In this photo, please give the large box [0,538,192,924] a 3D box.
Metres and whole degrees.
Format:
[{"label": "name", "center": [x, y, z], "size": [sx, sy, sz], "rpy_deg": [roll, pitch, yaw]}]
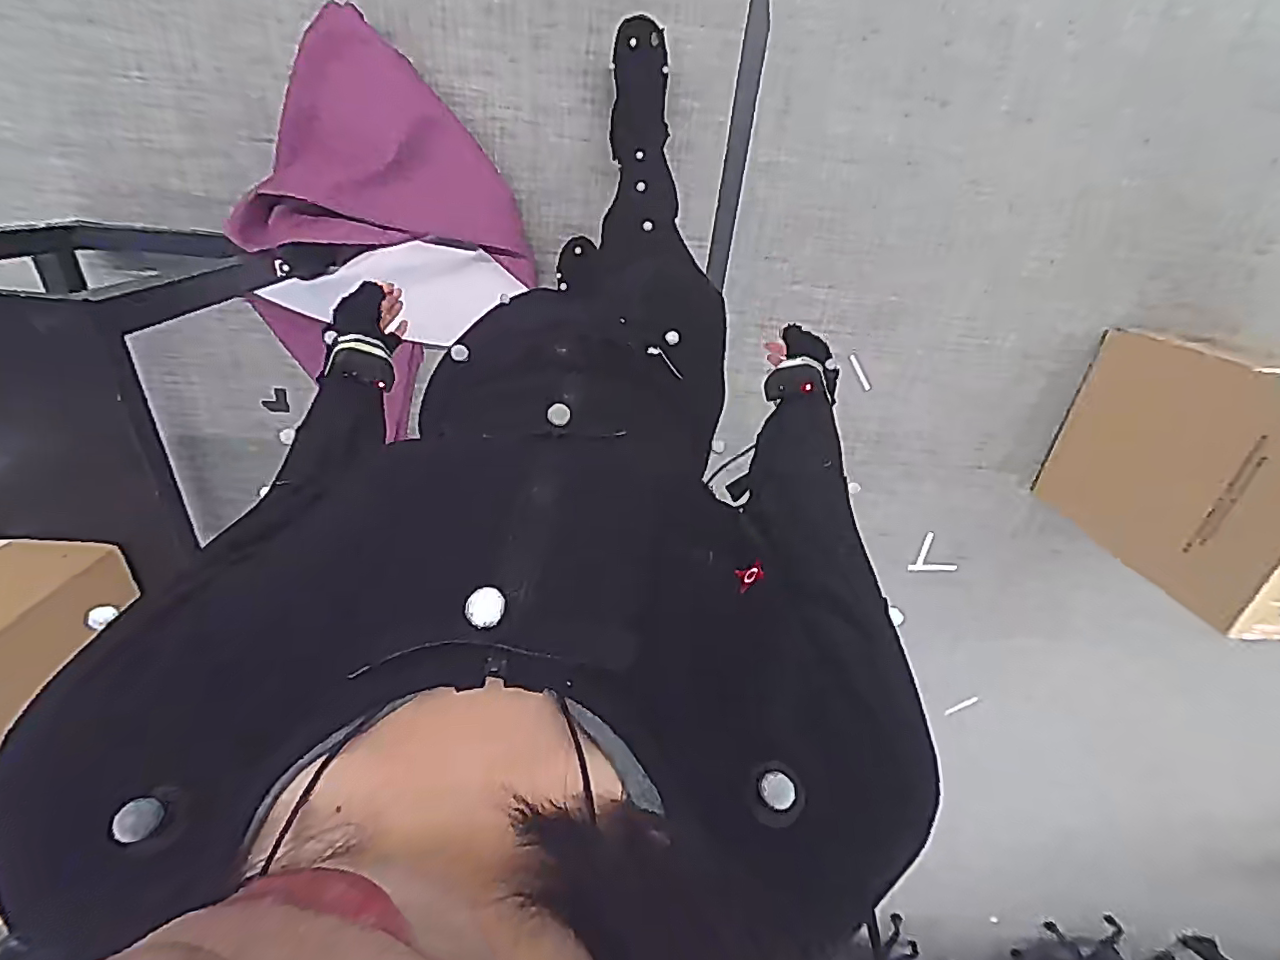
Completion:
[{"label": "large box", "center": [-0.930, 0.328, 0.739], "size": [0.320, 0.320, 0.408], "rpy_deg": [2, 118, -5]}]
